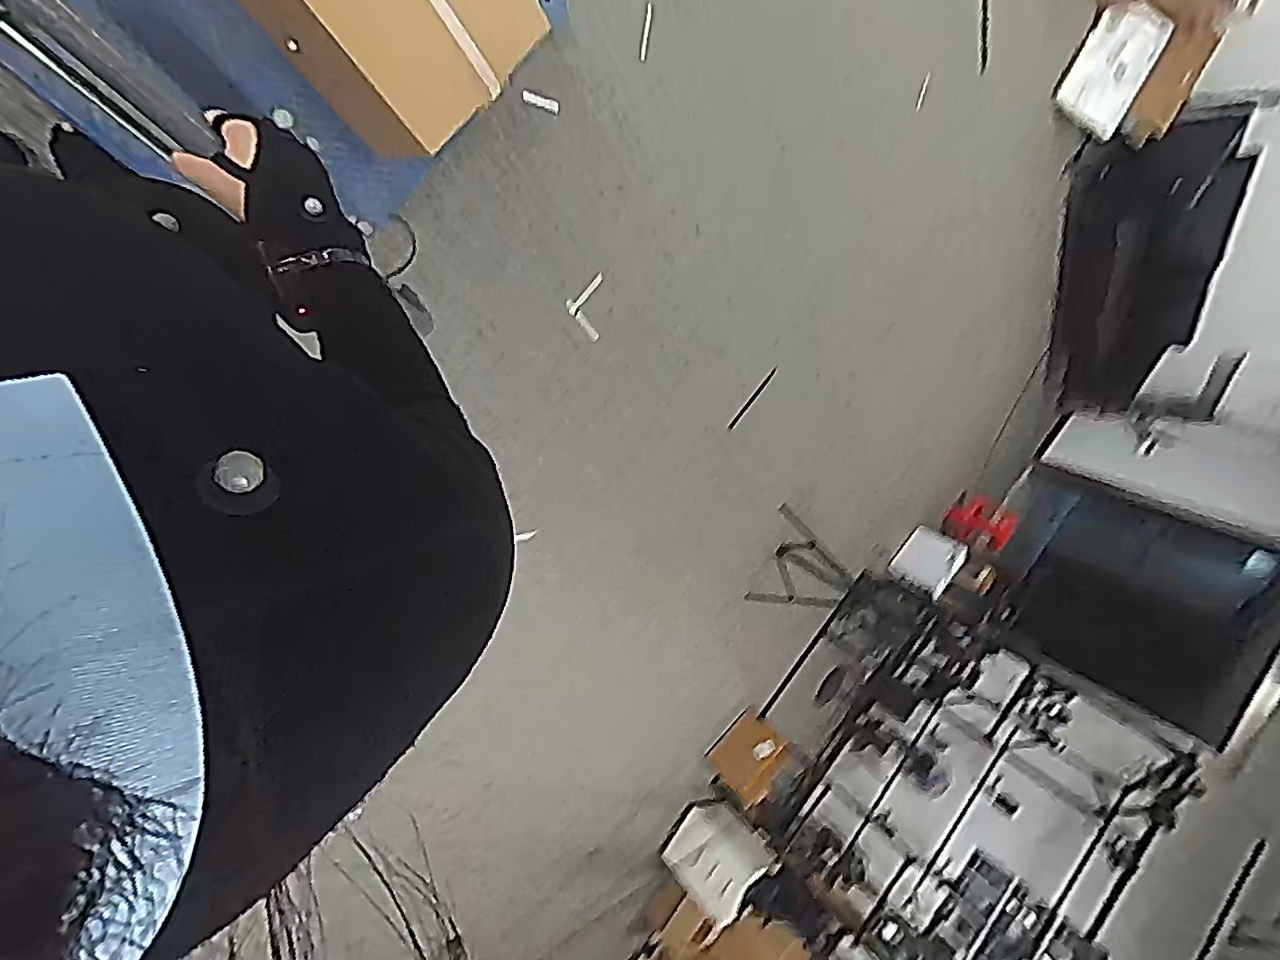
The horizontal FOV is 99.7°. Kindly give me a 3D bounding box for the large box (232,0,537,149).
[{"bbox_3d":[-0.453,-0.815,0.858,0.320,0.320,0.408,-53,137,-7],"label":"large box"}]
